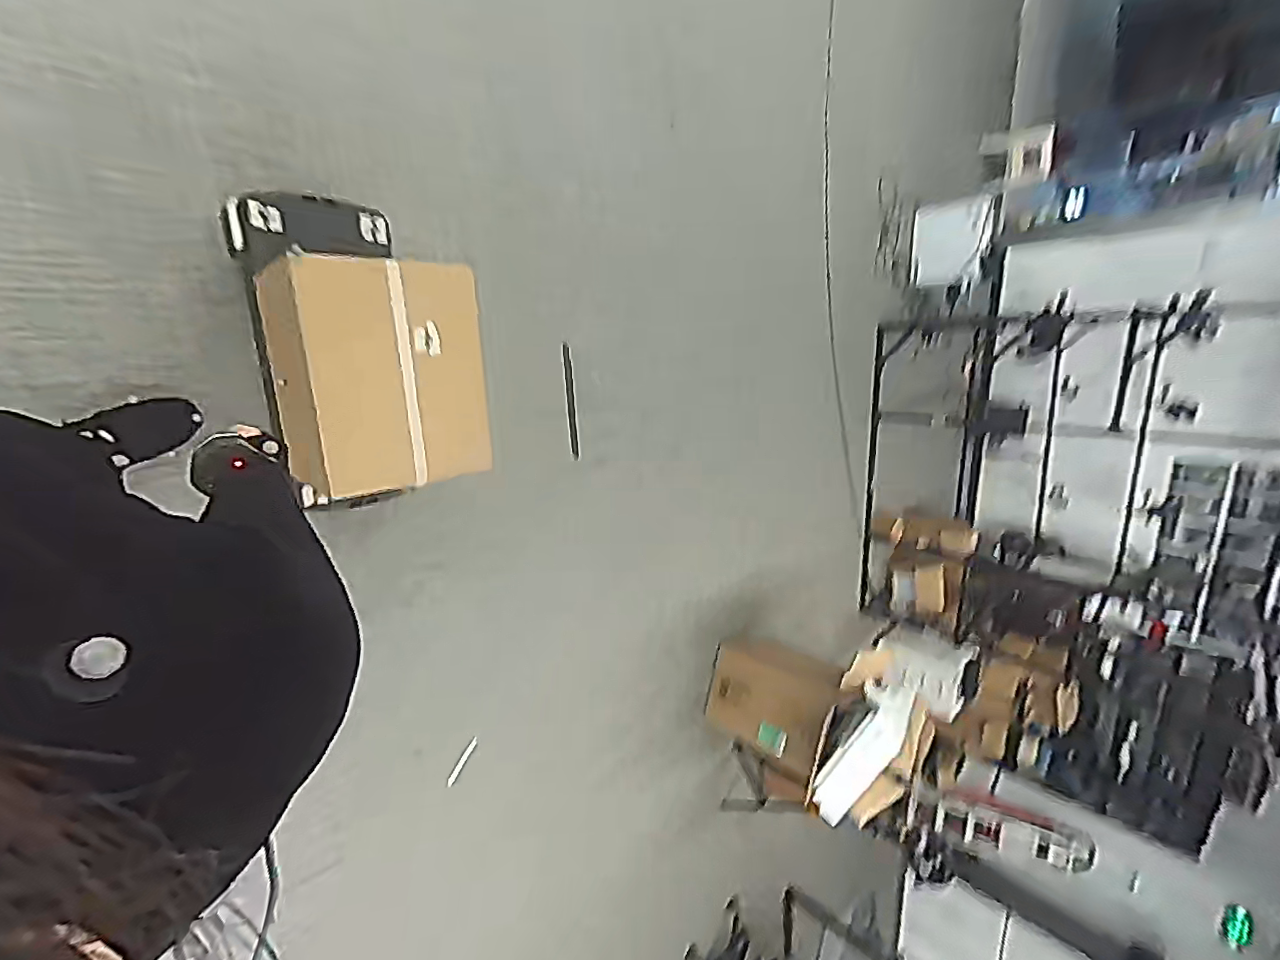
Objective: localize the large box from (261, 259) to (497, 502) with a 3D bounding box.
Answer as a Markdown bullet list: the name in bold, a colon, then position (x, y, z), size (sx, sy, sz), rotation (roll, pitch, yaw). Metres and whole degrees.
- **large box**: position (-0.524, -0.200, 1.094), size (0.320, 0.320, 0.408), rotation (-15, 107, -42)

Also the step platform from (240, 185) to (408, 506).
- **step platform**: position (-0.704, -0.282, 1.238), size (0.286, 0.204, 0.684), rotation (-7, 102, -43)
